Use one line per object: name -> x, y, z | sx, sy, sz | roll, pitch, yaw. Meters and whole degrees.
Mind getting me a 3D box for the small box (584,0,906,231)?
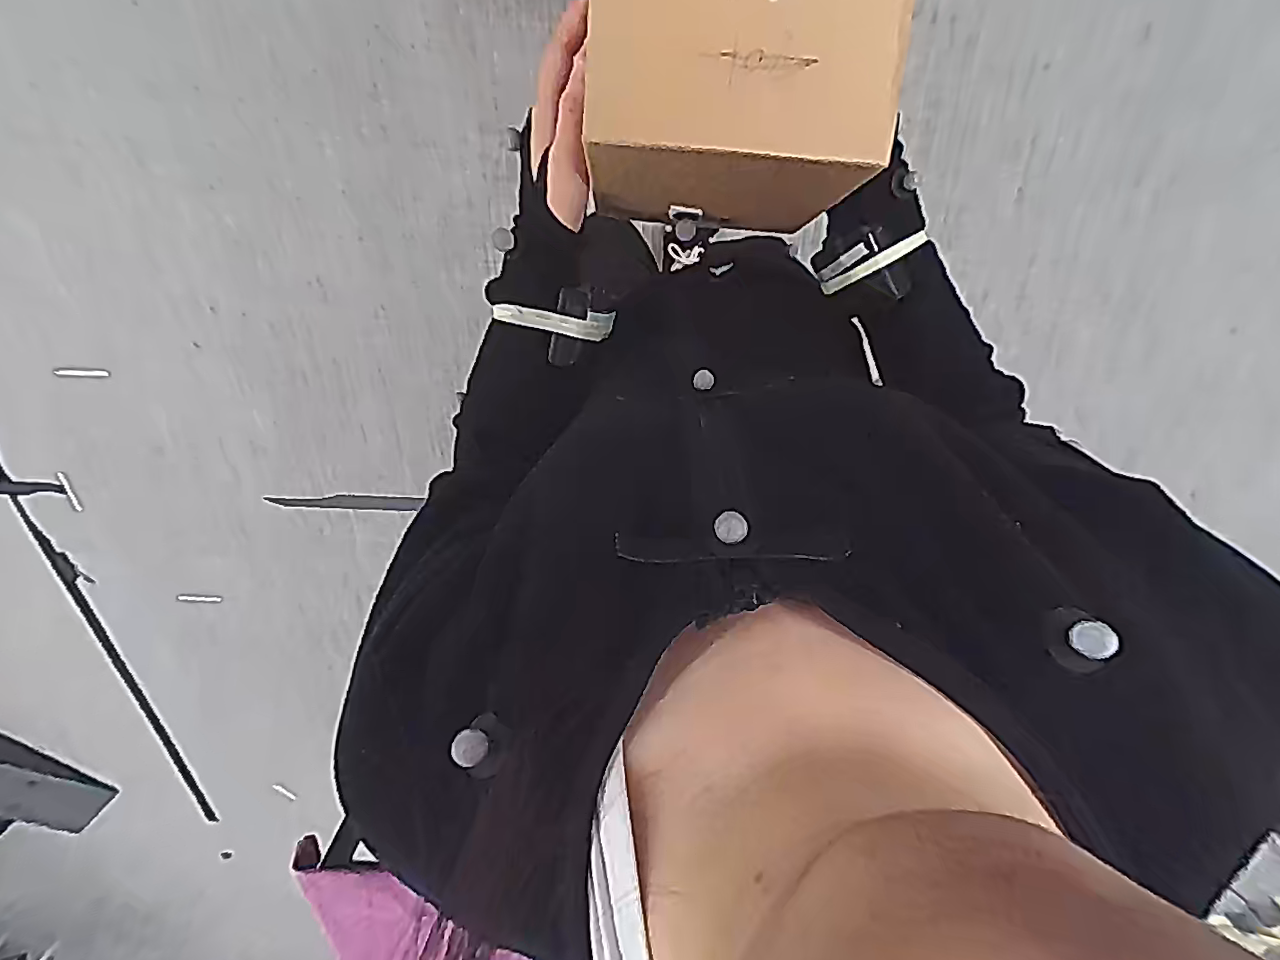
small box -> 0.054, -0.279, 0.350 | 0.168, 0.176, 0.179 | 3, 103, -2
